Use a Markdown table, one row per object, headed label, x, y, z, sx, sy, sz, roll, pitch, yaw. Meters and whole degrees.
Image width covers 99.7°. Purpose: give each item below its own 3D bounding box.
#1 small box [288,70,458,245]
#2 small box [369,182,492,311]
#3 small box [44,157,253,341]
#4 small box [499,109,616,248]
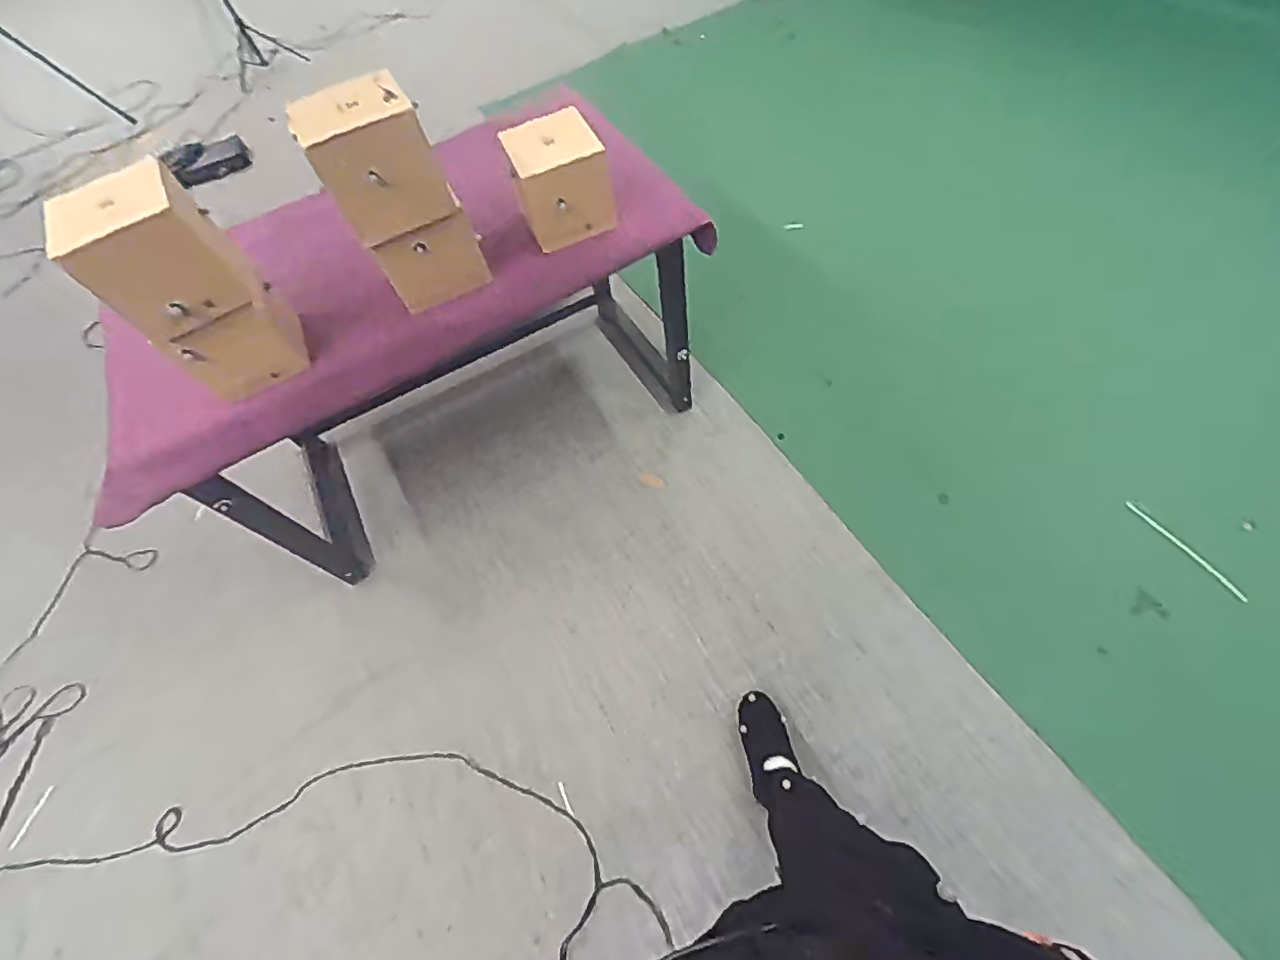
| label | x | y | z | sx | sy | sz | roll | pitch | yaw |
| --- | --- | --- | --- | --- | --- | --- | --- | --- | --- |
| small box | -0.433 | -0.524 | 0.892 | 0.179 | 0.176 | 0.168 | -28 | 61 | -8 |
| small box | -0.413 | -0.459 | 1.041 | 0.179 | 0.176 | 0.168 | -26 | 60 | -8 |
| small box | -0.743 | -0.349 | 0.831 | 0.168 | 0.176 | 0.179 | -32 | 61 | -11 |
| small box | -0.159 | -0.594 | 1.086 | 0.168 | 0.176 | 0.179 | -24 | 61 | -6 |
